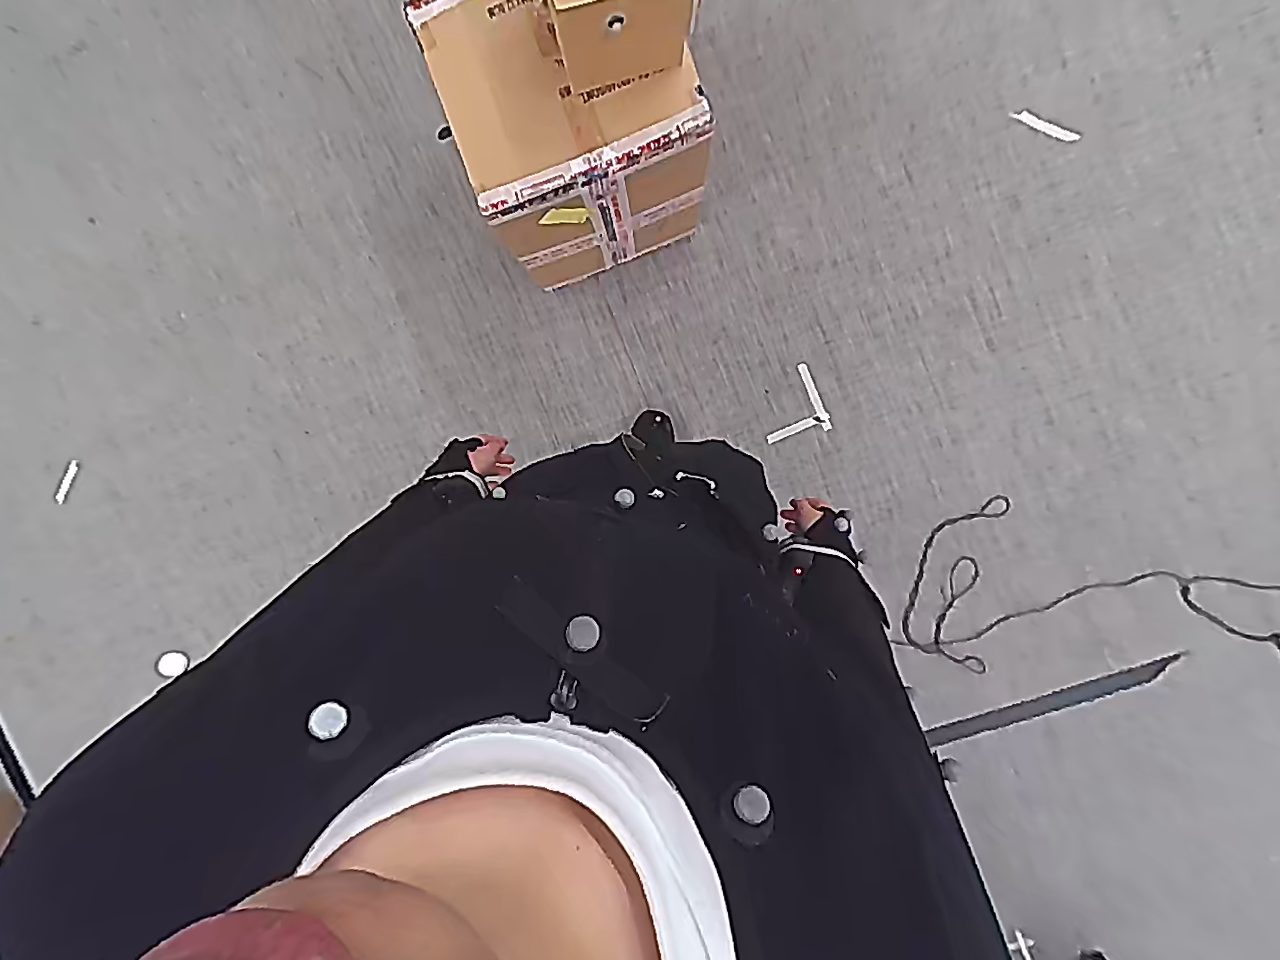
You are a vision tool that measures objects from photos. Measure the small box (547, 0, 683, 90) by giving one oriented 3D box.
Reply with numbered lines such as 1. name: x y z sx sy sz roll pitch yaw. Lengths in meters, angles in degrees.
1. small box: -0.042 -0.673 0.728 0.179 0.176 0.168 -15 96 1
